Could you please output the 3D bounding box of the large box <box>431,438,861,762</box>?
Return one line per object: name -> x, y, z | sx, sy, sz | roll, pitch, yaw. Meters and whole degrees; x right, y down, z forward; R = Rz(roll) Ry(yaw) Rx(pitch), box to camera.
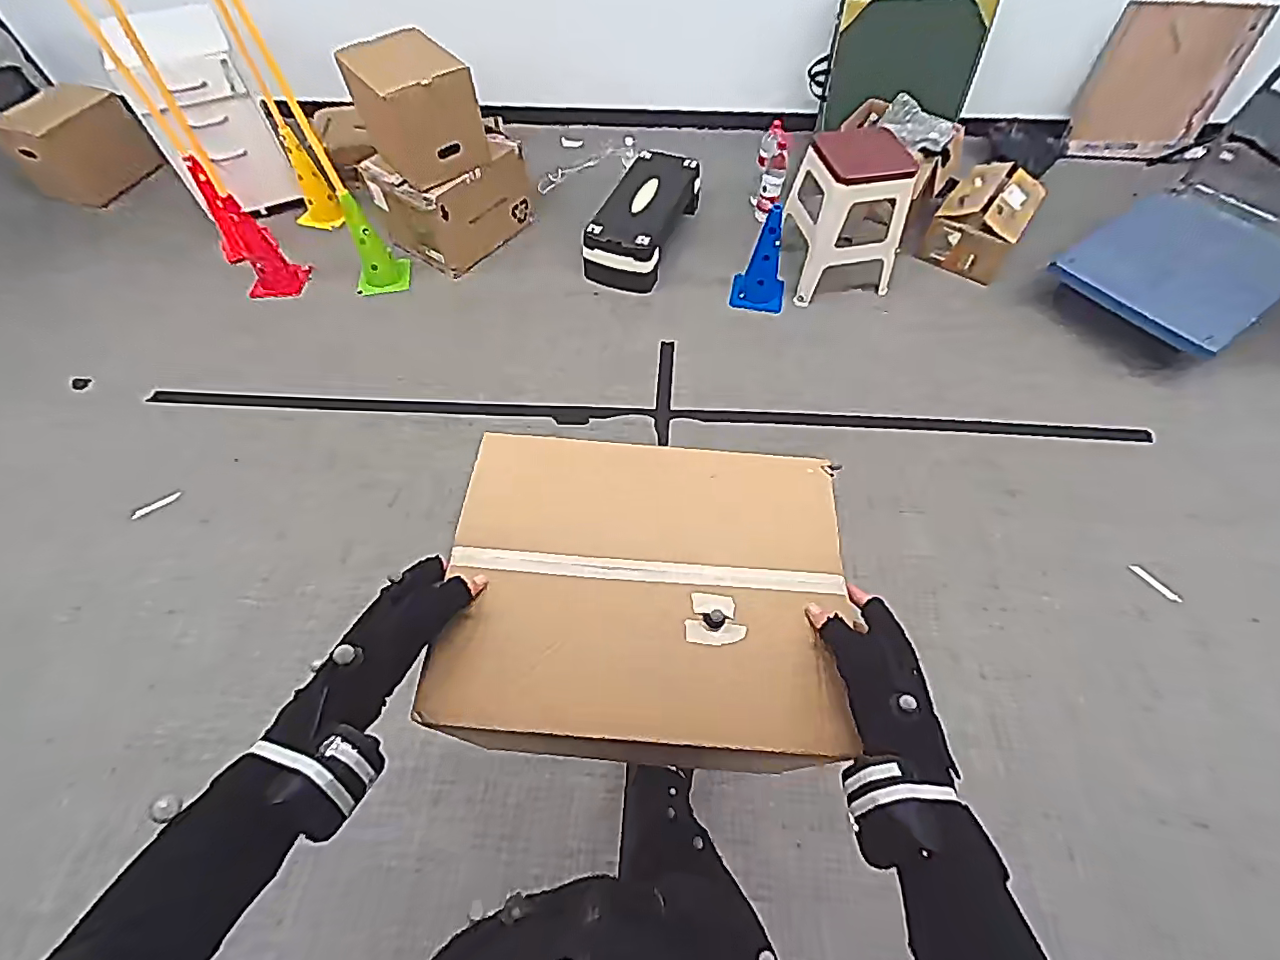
large box -> 0.005, 0.169, 0.693 | 0.408, 0.320, 0.320 | 5, 60, 0
